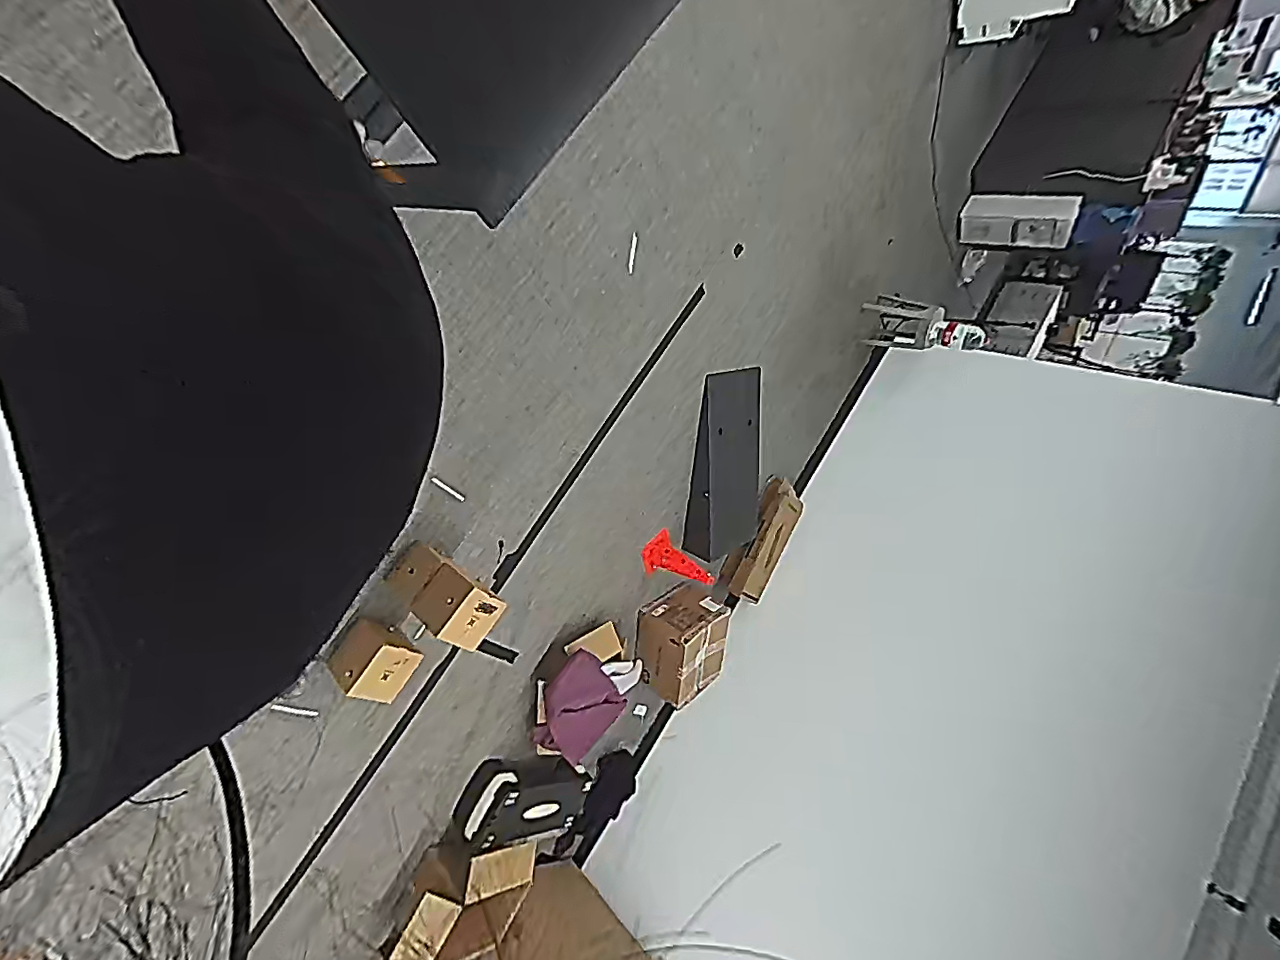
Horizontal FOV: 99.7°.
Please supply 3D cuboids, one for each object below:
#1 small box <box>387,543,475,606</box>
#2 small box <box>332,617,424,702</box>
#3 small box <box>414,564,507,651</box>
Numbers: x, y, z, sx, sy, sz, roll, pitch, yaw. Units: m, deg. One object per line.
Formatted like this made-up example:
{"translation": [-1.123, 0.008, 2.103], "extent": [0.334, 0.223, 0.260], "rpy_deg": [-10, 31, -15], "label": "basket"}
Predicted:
{"translation": [-0.670, 0.322, 1.736], "extent": [0.168, 0.176, 0.179], "rpy_deg": [-55, 141, -14], "label": "small box"}
{"translation": [-0.823, 0.559, 1.685], "extent": [0.179, 0.176, 0.168], "rpy_deg": [-57, 143, -11], "label": "small box"}
{"translation": [-0.547, 0.383, 1.642], "extent": [0.179, 0.176, 0.168], "rpy_deg": [-55, 142, -13], "label": "small box"}
